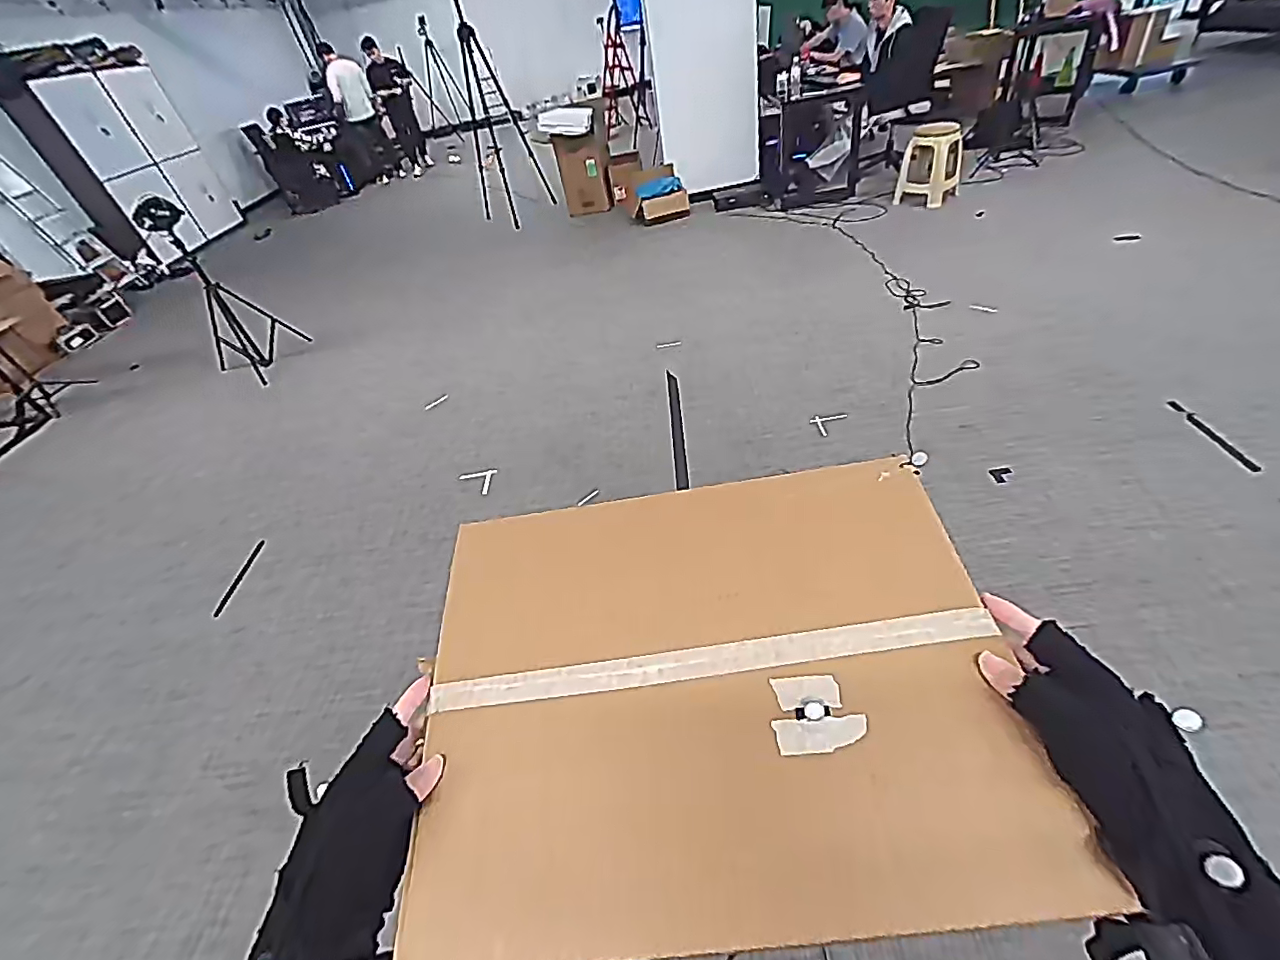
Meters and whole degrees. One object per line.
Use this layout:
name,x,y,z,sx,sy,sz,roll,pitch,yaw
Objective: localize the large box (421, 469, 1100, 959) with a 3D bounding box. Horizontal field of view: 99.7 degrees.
large box,0.069,0.230,0.517,0.408,0.320,0.320,-9,52,3
